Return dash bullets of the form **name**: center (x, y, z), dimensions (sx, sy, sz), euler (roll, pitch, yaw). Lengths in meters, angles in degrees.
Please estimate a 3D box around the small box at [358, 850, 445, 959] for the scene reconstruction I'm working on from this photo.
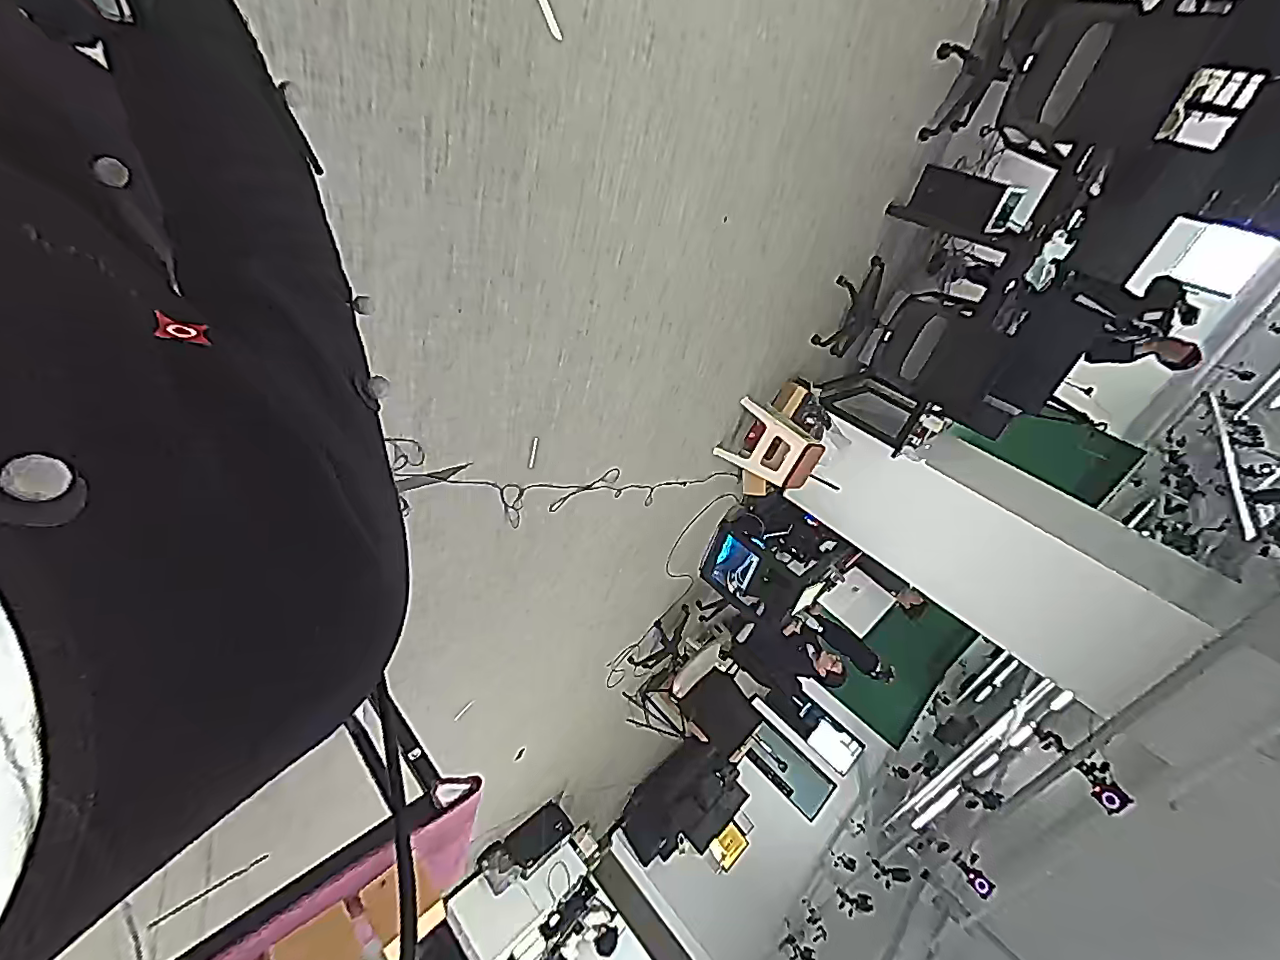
- **small box**: center (-0.676, 1.202, 1.536), dimensions (0.168, 0.176, 0.179), euler (-26, 141, -38)
